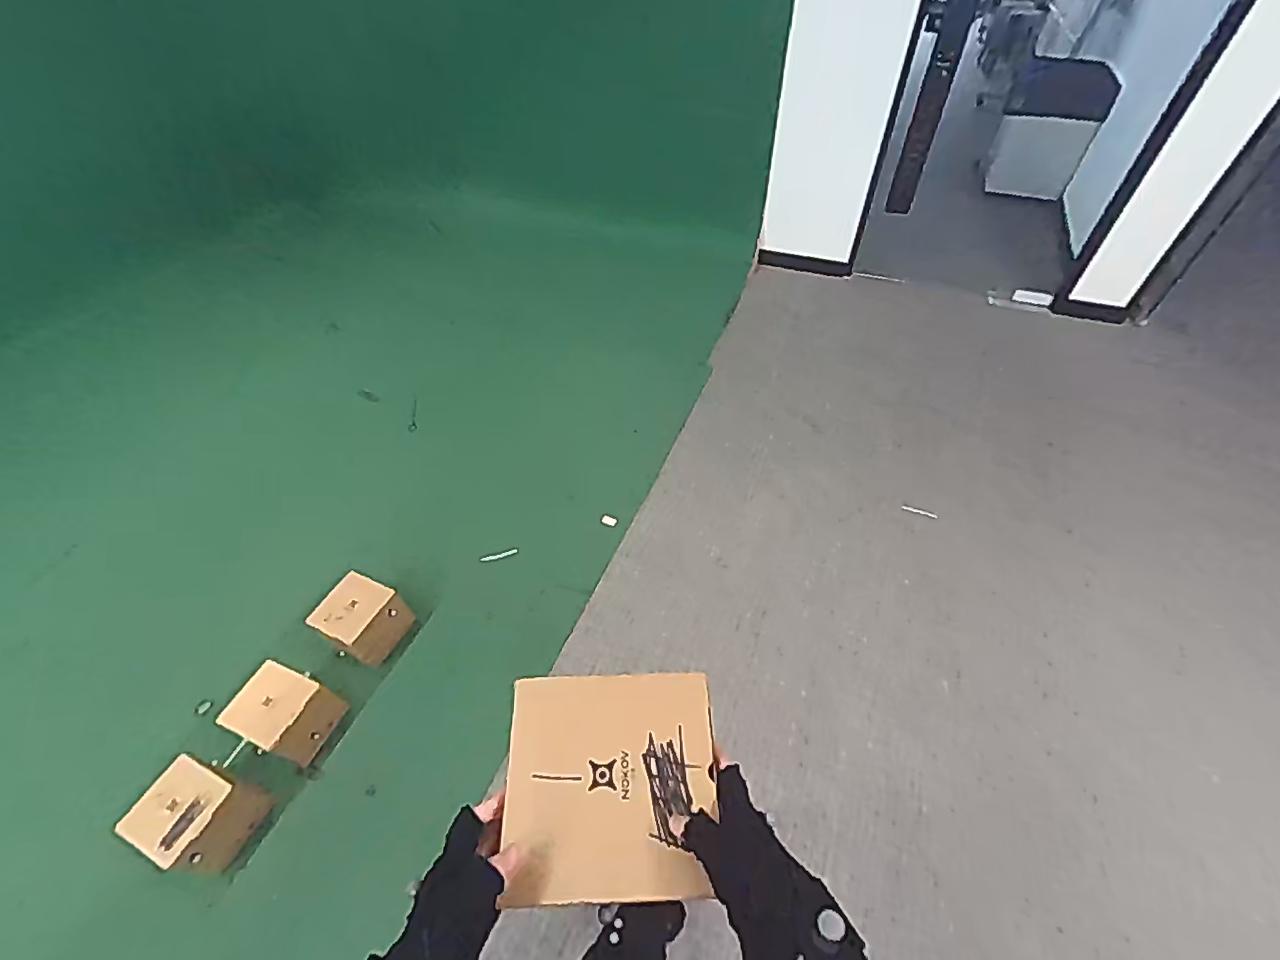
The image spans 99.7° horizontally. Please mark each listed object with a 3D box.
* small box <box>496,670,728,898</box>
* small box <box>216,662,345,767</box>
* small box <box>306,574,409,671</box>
[{"bbox_3d":[-0.024,0.288,0.512,0.179,0.176,0.168,-1,53,-2],"label":"small box"},{"bbox_3d":[-0.893,0.594,1.359,0.179,0.176,0.168,17,52,15],"label":"small box"},{"bbox_3d":[-0.779,0.401,1.519,0.168,0.176,0.179,19,52,17],"label":"small box"}]
